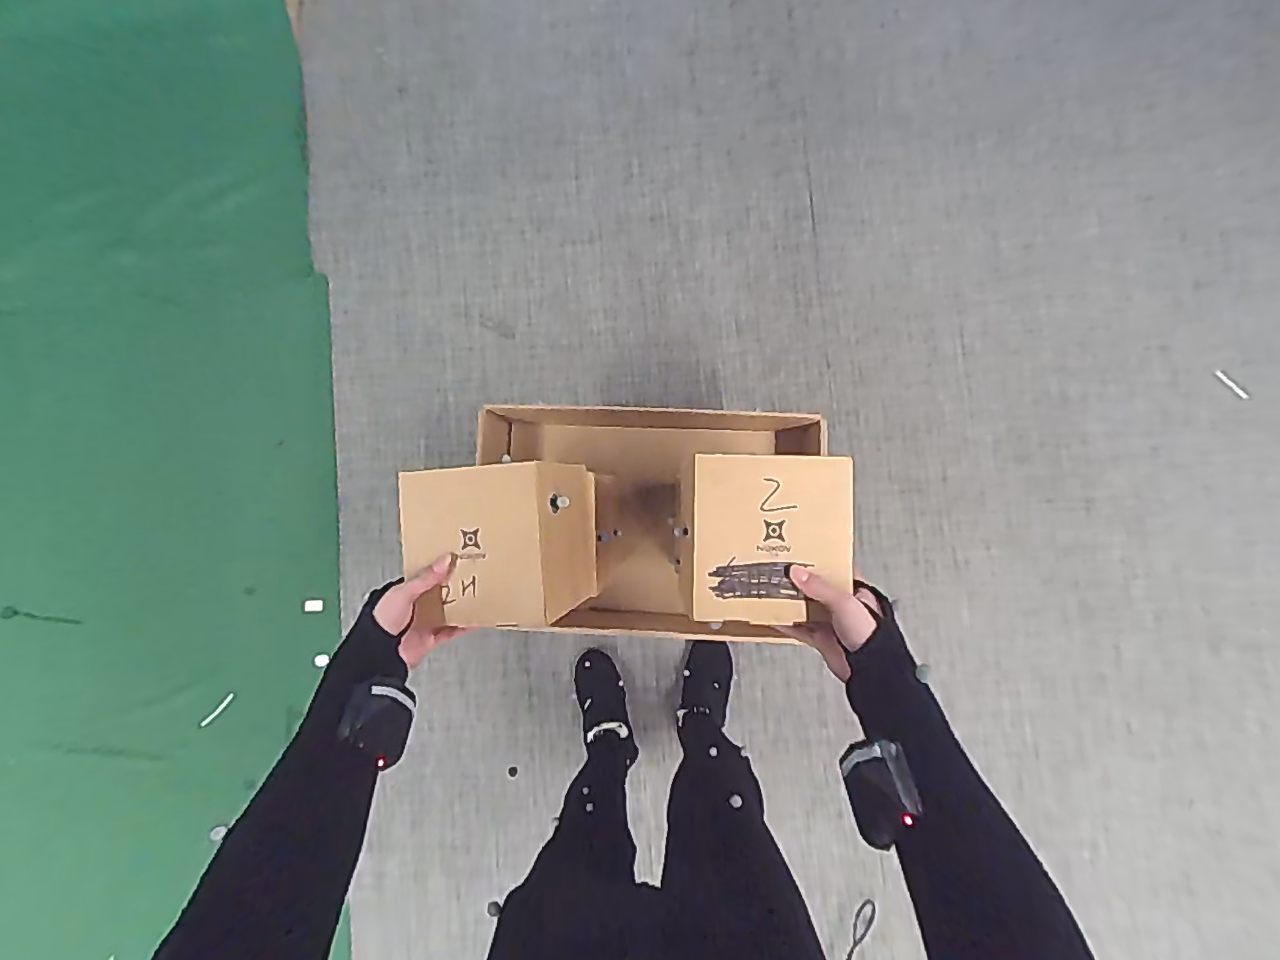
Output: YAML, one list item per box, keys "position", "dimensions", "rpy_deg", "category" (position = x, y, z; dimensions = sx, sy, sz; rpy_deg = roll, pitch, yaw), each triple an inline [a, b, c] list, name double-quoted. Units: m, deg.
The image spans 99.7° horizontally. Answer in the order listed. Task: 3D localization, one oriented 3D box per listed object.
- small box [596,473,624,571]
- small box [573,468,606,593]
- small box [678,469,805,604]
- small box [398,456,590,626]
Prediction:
- position: [-0.126, 0.077, 0.987]
  dimensions: [0.179, 0.176, 0.168]
  rpy_deg: [-1, 86, 4]
  category: "small box"
- position: [-0.142, 0.081, 0.830]
  dimensions: [0.168, 0.176, 0.179]
  rpy_deg: [-3, 84, 2]
  category: "small box"
- position: [0.142, 0.081, 0.806]
  dimensions: [0.168, 0.176, 0.179]
  rpy_deg: [2, 85, 3]
  category: "small box"
- position: [-0.164, 0.068, 0.648]
  dimensions: [0.168, 0.176, 0.179]
  rpy_deg: [-4, 89, 13]
  category: "small box"
